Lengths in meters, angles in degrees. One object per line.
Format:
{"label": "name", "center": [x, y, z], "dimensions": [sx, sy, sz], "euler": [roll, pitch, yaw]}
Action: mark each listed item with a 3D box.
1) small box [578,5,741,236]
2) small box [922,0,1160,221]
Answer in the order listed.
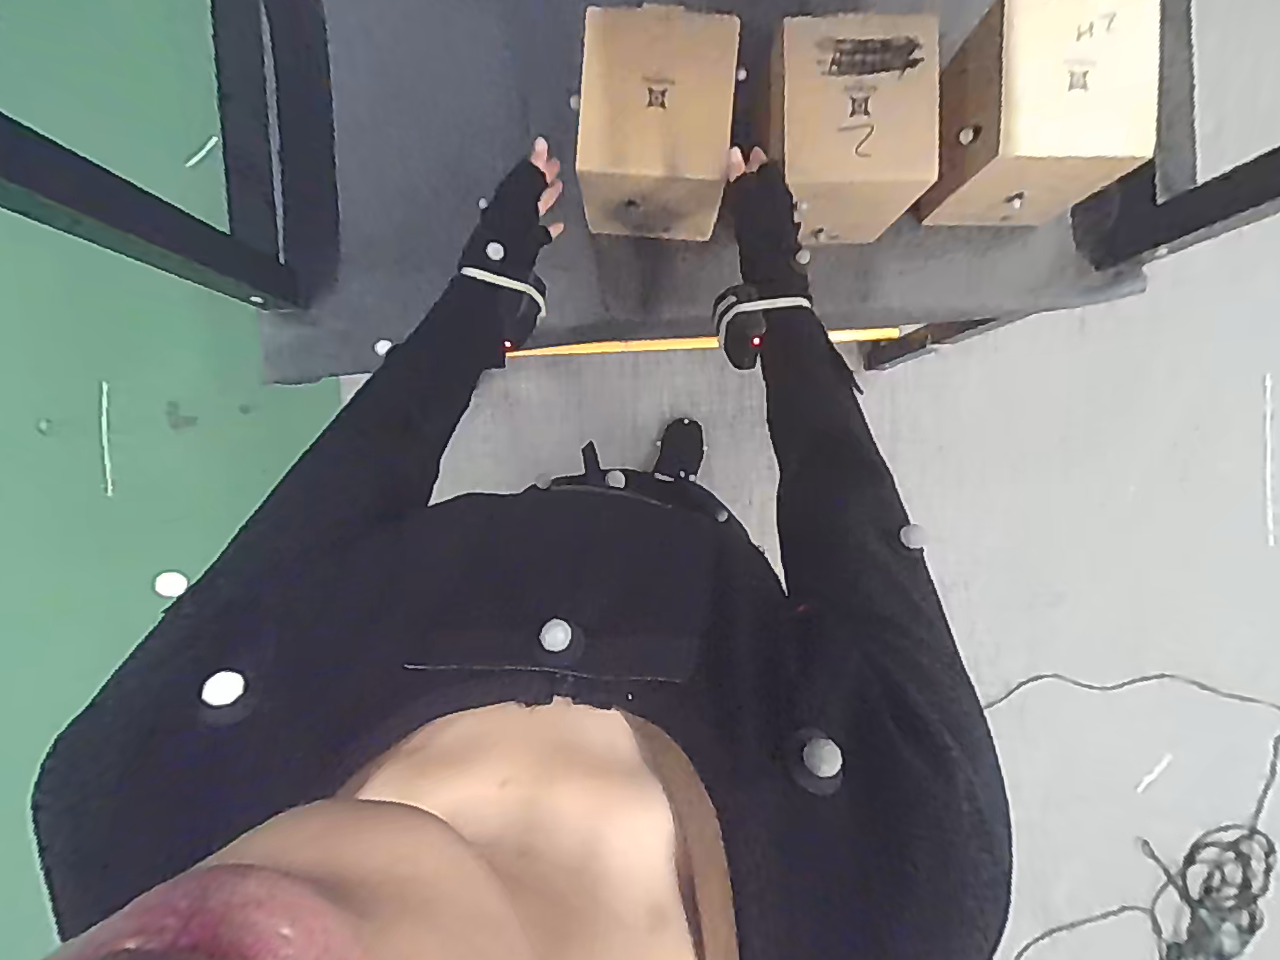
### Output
{"label": "small box", "center": [0.022, -0.418, 0.659], "dimensions": [0.168, 0.176, 0.179], "euler": [4, 92, 0]}
{"label": "small box", "center": [0.463, -0.433, 0.652], "dimensions": [0.168, 0.176, 0.179], "euler": [1, 92, 0]}
